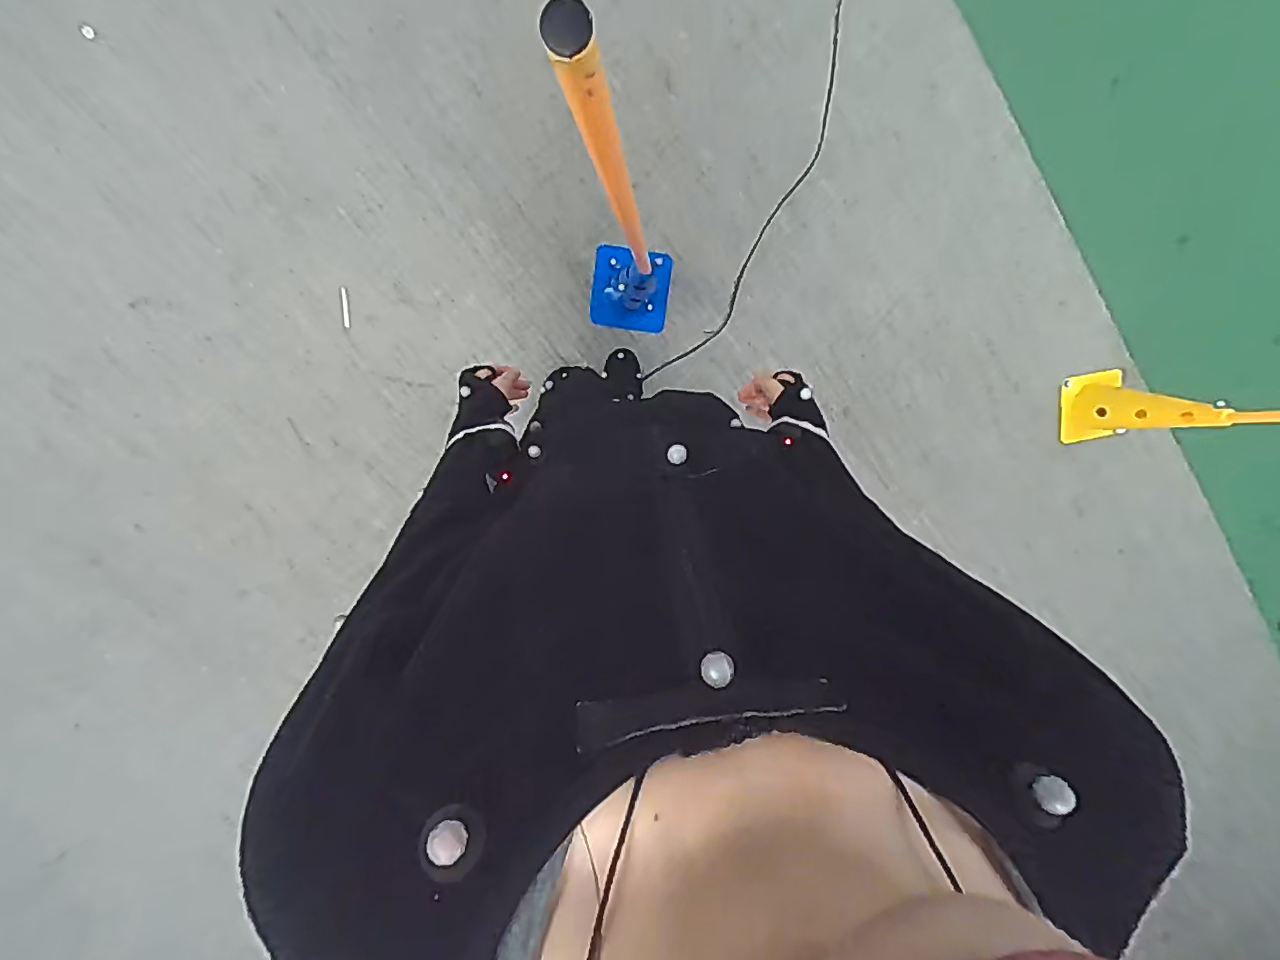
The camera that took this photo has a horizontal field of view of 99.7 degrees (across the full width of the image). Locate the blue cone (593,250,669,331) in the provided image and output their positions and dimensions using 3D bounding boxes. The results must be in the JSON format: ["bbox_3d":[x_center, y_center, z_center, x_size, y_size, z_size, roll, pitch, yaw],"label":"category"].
[{"bbox_3d":[-0.010,-0.447,1.221,0.193,0.380,0.192,5,102,-6],"label":"blue cone"}]
